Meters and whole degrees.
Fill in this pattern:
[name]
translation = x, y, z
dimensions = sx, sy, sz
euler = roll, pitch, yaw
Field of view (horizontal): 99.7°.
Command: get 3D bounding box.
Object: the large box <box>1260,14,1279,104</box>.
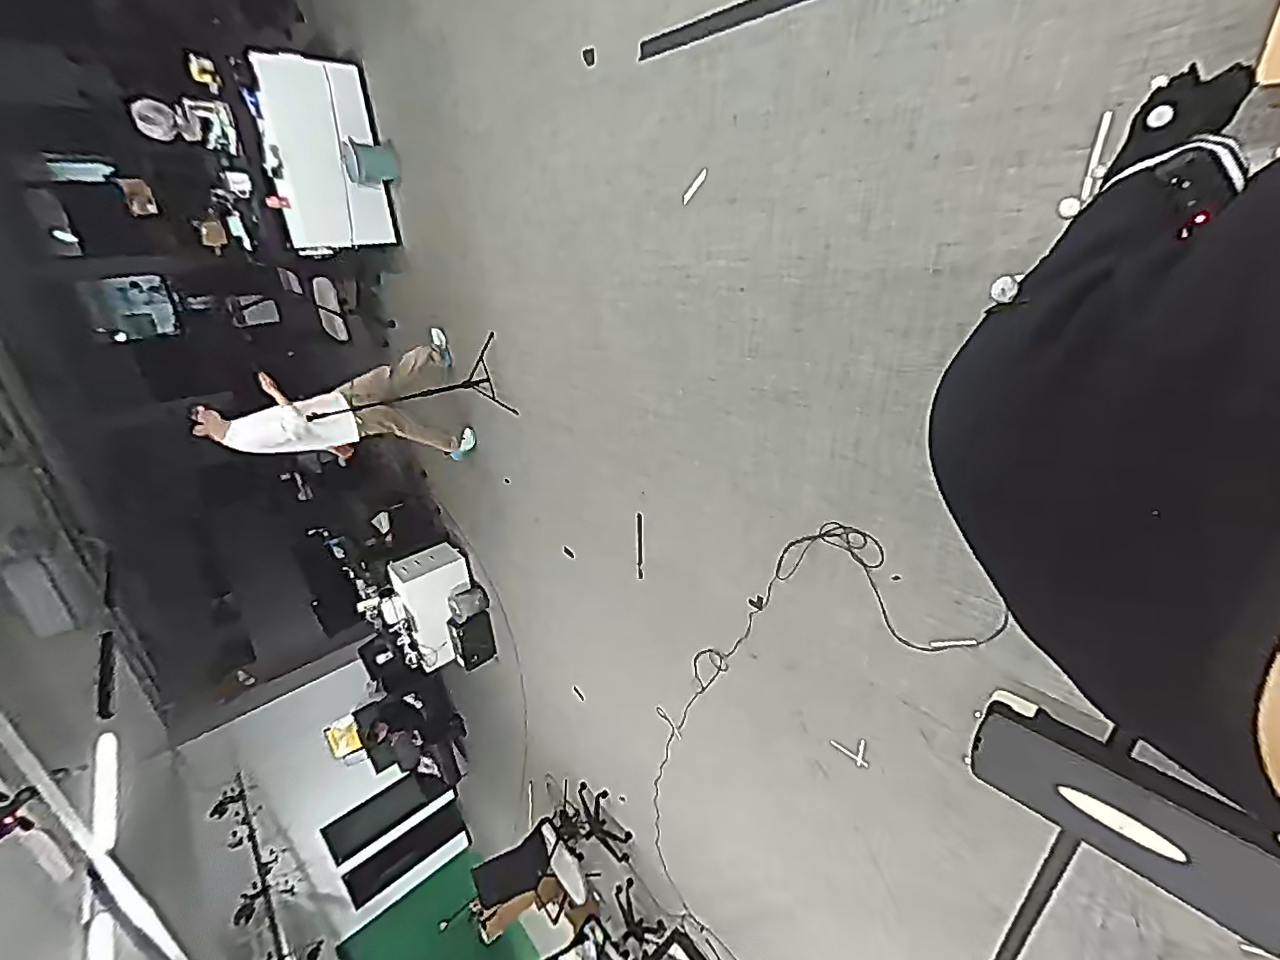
[large box]
translation = 1.055, -0.664, 0.614
dimensions = 0.408, 0.320, 0.320
euler = 22, 125, 43
